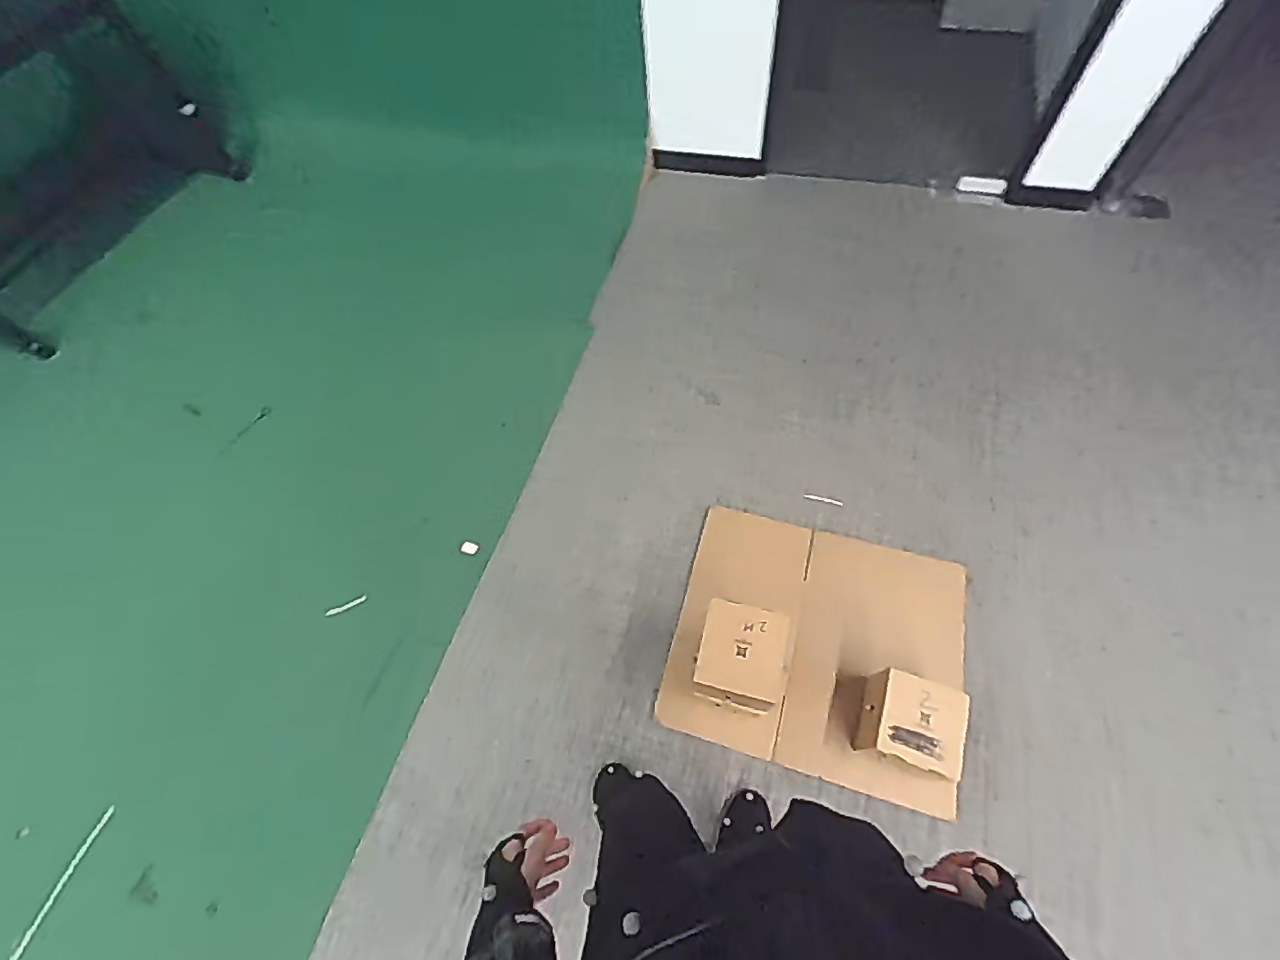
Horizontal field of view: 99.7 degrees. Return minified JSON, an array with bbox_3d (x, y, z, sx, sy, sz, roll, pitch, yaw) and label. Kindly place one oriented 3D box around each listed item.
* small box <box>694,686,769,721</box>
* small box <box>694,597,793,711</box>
[{"bbox_3d":[0.227,0.454,1.275,0.168,0.176,0.179,12,63,11],"label":"small box"},{"bbox_3d":[0.213,0.370,1.132,0.168,0.176,0.179,13,63,11],"label":"small box"}]
